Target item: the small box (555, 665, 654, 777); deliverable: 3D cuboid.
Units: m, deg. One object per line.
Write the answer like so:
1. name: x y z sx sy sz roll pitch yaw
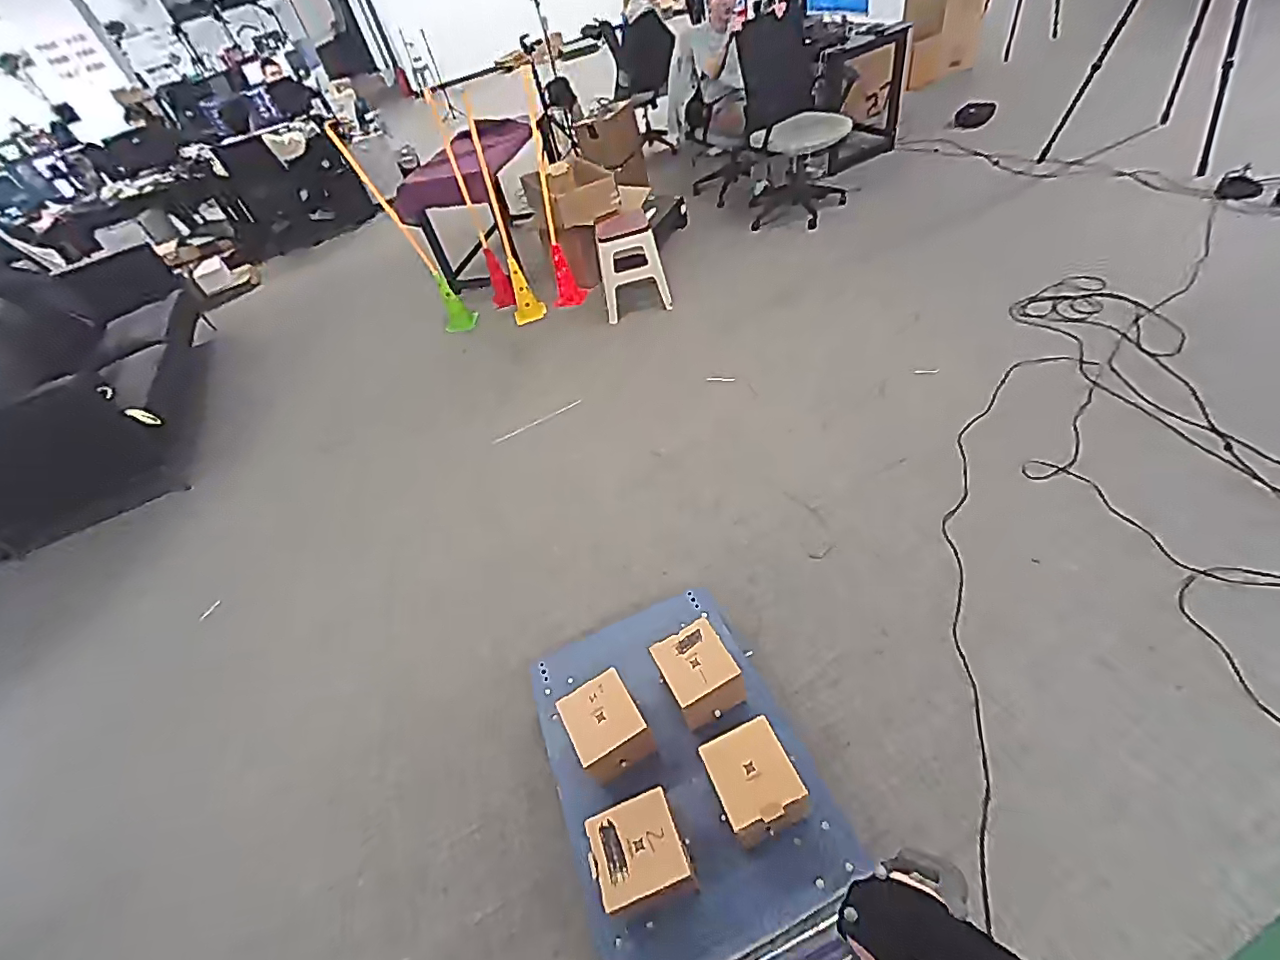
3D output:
1. small box: -0.082 0.597 1.324 0.168 0.176 0.179 -28 46 -13

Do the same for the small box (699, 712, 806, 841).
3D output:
1. small box: 0.244 0.652 1.187 0.168 0.176 0.179 -24 47 -8

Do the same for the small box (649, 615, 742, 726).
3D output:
1. small box: 0.143 0.484 1.371 0.168 0.176 0.179 -27 47 -10
